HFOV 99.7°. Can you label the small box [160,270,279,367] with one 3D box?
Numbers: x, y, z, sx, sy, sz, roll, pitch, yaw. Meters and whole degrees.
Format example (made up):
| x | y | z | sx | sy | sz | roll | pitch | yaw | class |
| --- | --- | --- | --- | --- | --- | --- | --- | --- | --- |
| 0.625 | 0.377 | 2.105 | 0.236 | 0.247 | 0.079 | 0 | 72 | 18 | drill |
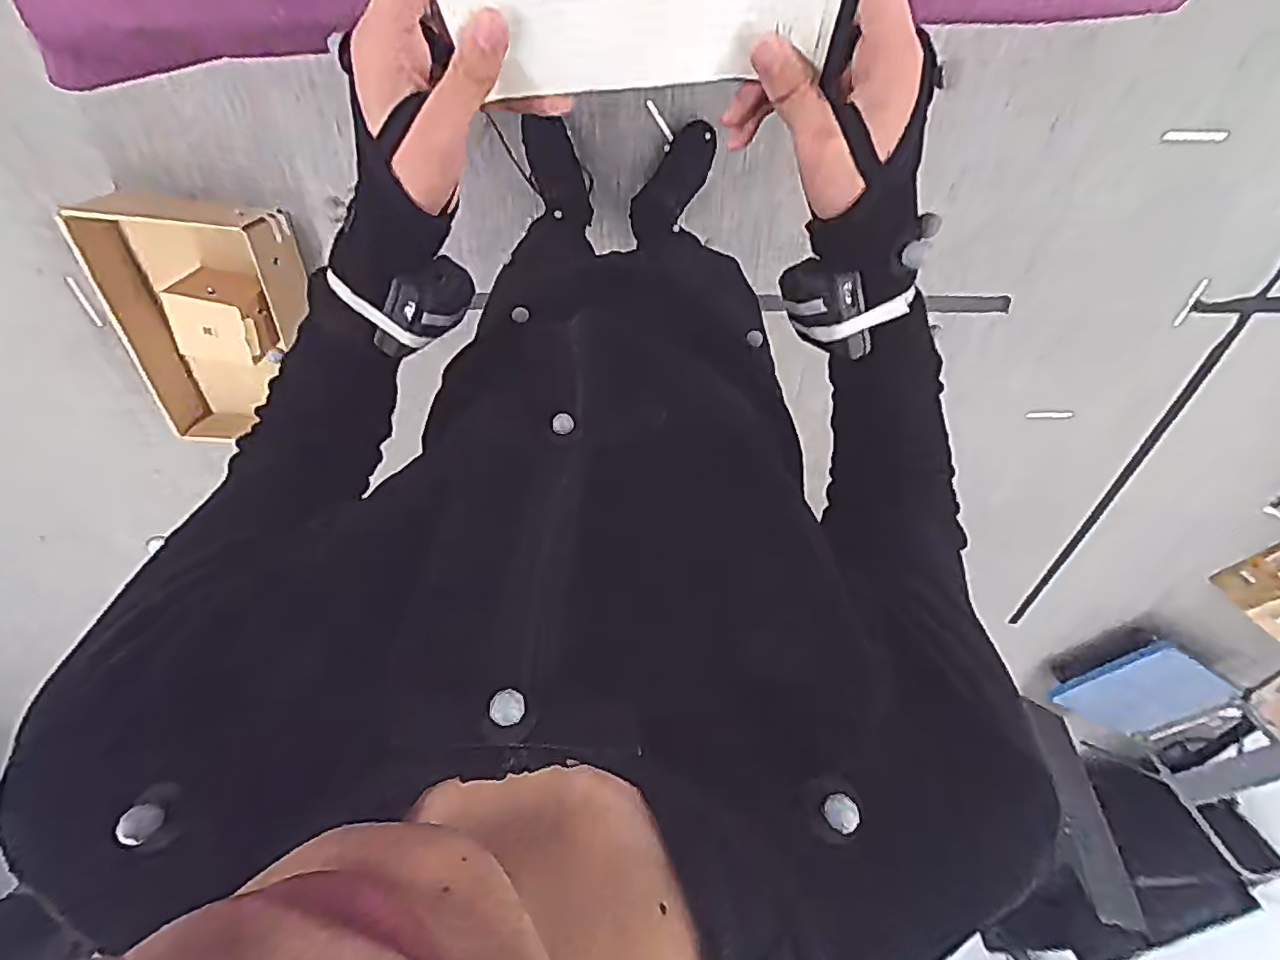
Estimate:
| x | y | z | sx | sy | sz | roll | pitch | yaw | class |
| --- | --- | --- | --- | --- | --- | --- | --- | --- | --- |
| -1.054 | -0.414 | 1.378 | 0.179 | 0.176 | 0.168 | 10 | 130 | -10 | small box |
